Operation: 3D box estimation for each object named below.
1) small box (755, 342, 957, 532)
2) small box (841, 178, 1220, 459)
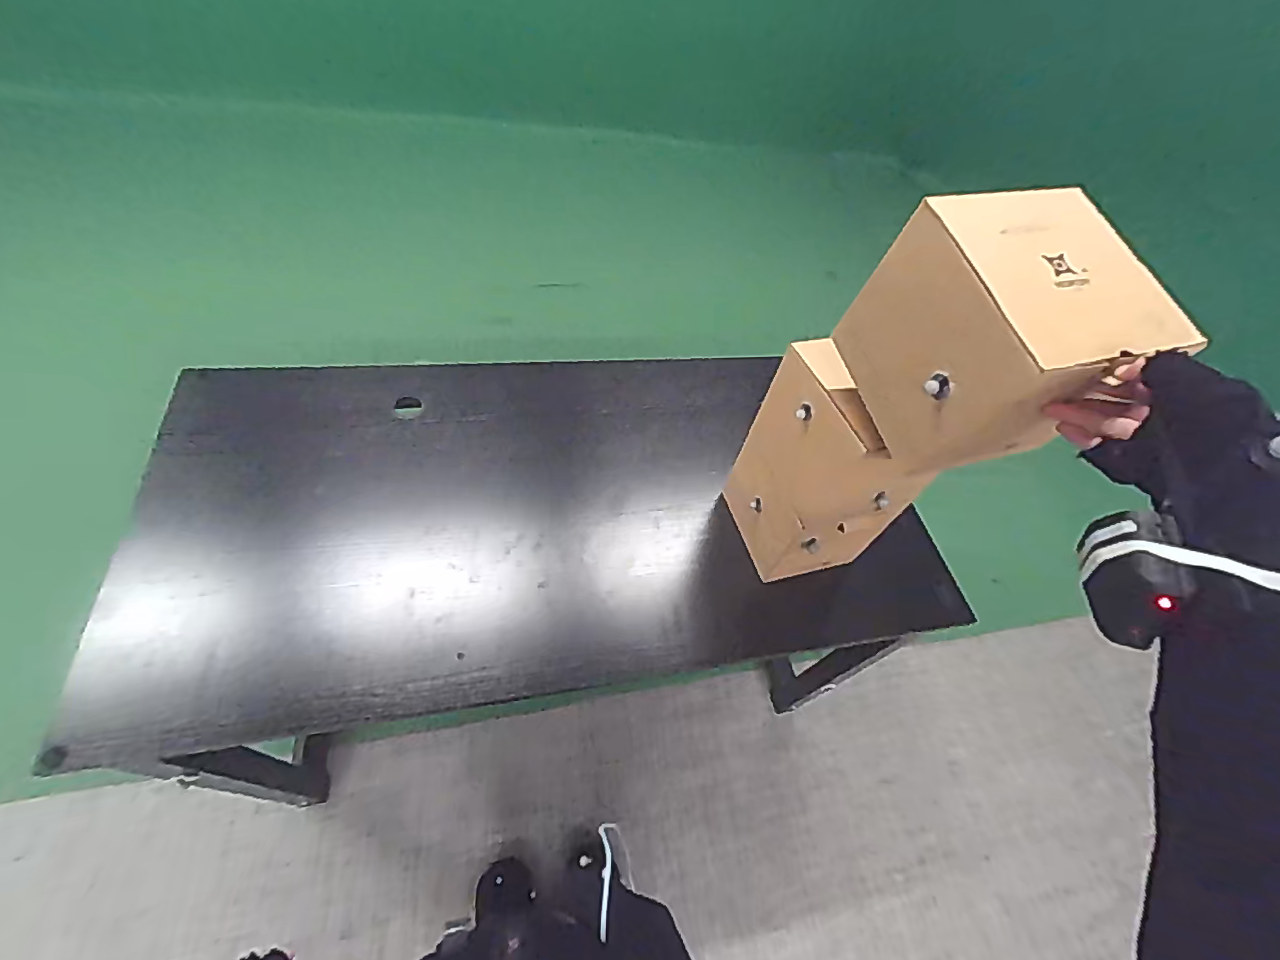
[{"bbox_3d":[0.272,-0.059,0.696,0.168,0.176,0.179,-12,57,-17],"label":"small box"},{"bbox_3d":[0.314,-0.131,0.479,0.168,0.176,0.179,-10,66,-14],"label":"small box"}]
